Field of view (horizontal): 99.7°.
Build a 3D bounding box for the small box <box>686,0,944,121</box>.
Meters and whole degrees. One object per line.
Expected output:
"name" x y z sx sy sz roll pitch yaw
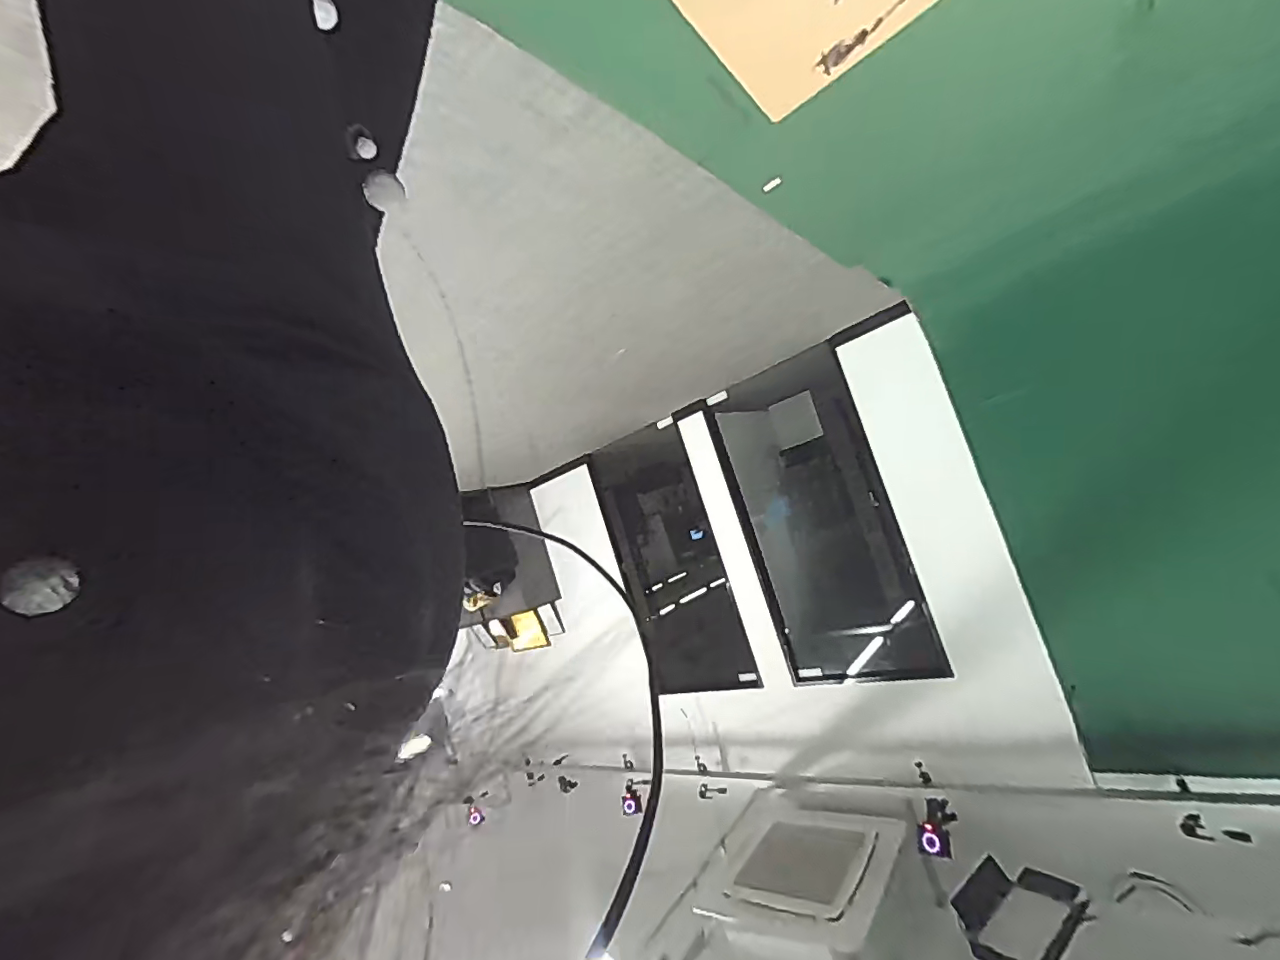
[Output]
"small box" 0.100 -0.381 0.328 0.168 0.176 0.179 -21 173 34
